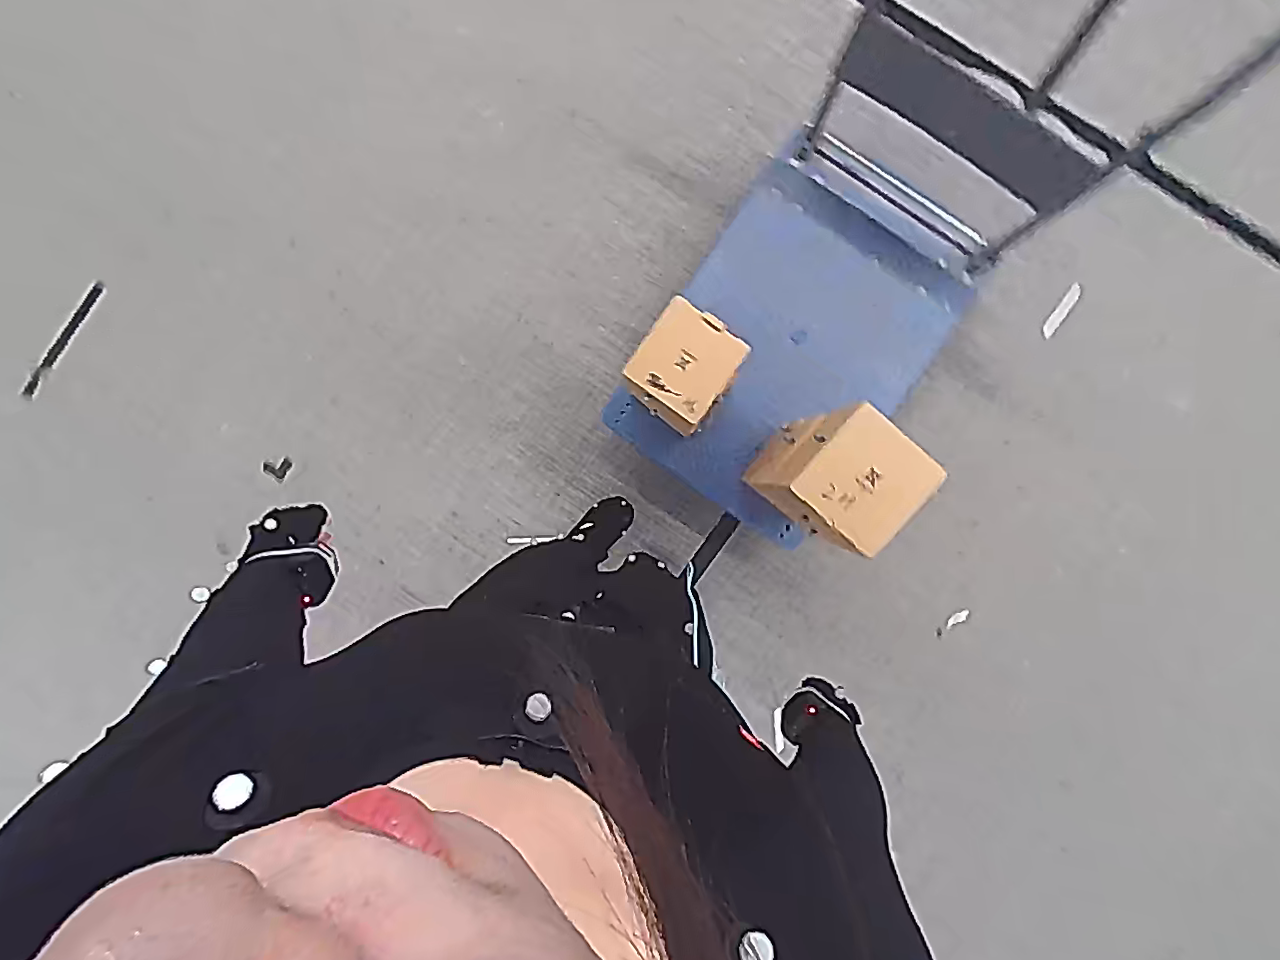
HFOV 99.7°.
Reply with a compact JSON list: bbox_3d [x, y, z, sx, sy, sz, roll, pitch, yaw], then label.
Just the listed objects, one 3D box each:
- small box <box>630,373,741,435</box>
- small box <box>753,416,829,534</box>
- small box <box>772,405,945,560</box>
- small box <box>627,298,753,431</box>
[{"bbox_3d":[0.099,-0.214,1.217,0.179,0.176,0.168,40,92,1],"label":"small box"},{"bbox_3d":[0.344,-0.001,1.051,0.179,0.176,0.168,41,92,0],"label":"small box"},{"bbox_3d":[0.342,0.001,0.886,0.168,0.176,0.179,42,92,0],"label":"small box"},{"bbox_3d":[0.091,-0.214,1.053,0.168,0.176,0.179,37,91,1],"label":"small box"}]
